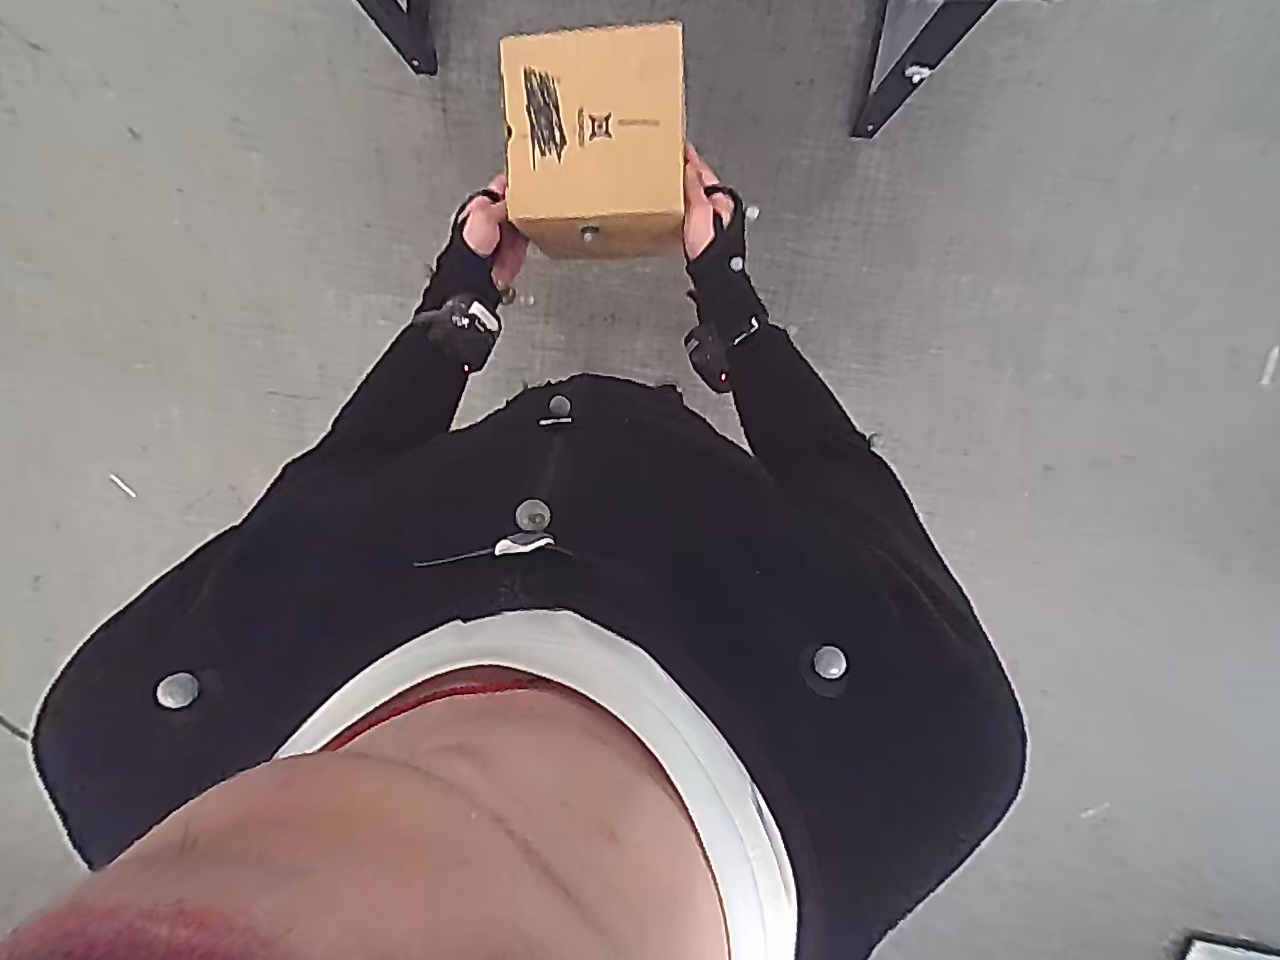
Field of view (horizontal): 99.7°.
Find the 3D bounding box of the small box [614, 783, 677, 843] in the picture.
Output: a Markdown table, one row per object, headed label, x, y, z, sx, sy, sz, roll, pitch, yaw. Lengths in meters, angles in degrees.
| label | x | y | z | sx | sy | sz | roll | pitch | yaw |
| --- | --- | --- | --- | --- | --- | --- | --- | --- | --- |
| small box | 0.021 | 1.099 | 1.718 | 0.179 | 0.176 | 0.168 | -14 | 103 | 3 |
